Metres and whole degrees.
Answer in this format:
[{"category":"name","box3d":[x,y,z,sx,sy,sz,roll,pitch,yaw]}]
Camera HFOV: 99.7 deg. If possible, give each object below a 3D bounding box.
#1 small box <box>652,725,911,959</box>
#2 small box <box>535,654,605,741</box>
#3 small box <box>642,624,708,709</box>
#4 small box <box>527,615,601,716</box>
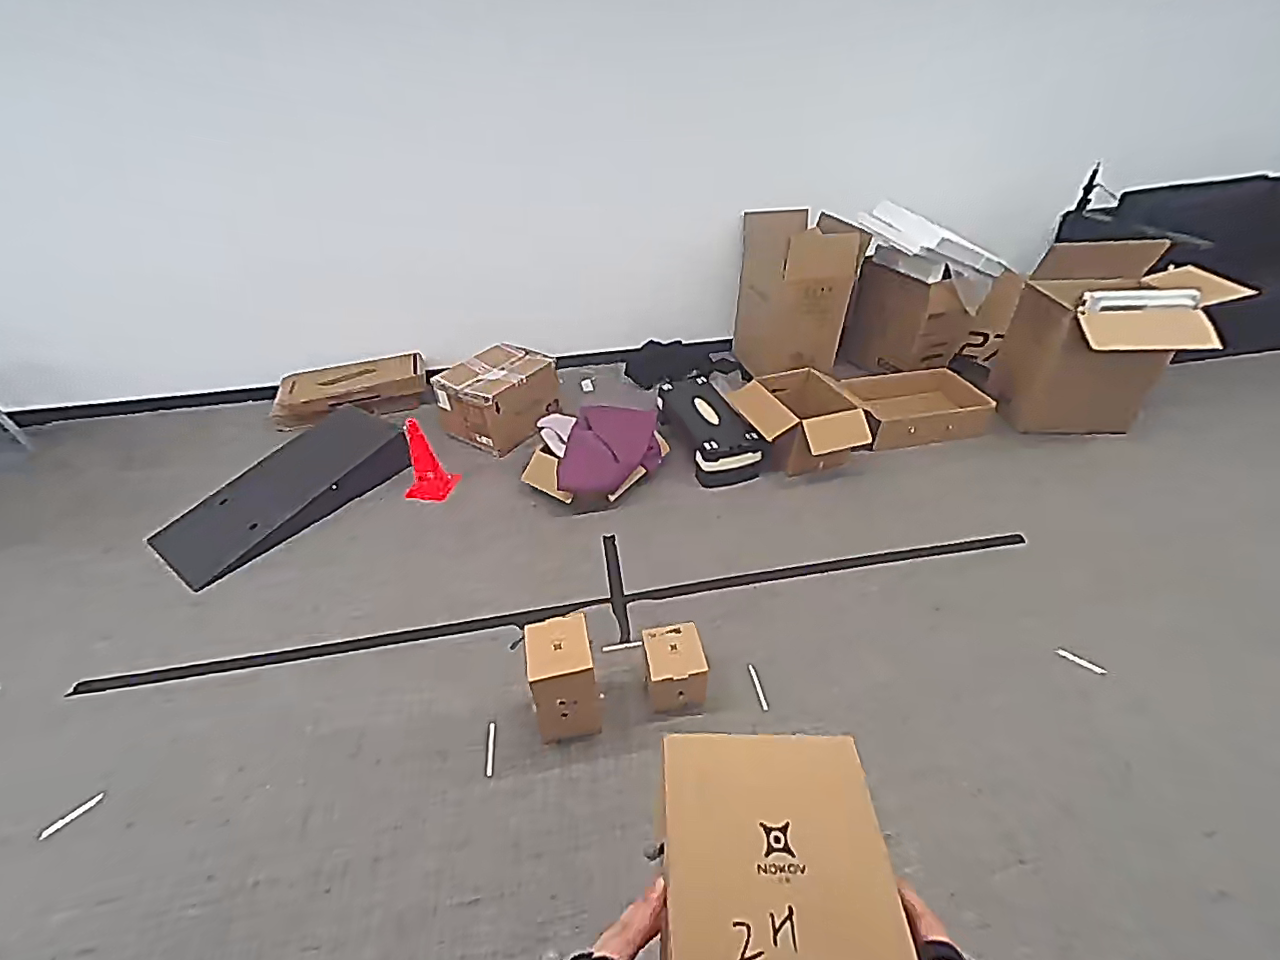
[{"category":"small box","box3d":[0.096,0.333,0.459,0.168,0.176,0.179,1,42,-1]},{"category":"small box","box3d":[-0.204,0.627,1.560,0.179,0.176,0.168,-8,38,-8]},{"category":"small box","box3d":[0.104,0.565,1.623,0.168,0.176,0.179,-8,39,-6]},{"category":"small box","box3d":[-0.206,0.500,1.458,0.168,0.176,0.179,-11,40,-8]}]
